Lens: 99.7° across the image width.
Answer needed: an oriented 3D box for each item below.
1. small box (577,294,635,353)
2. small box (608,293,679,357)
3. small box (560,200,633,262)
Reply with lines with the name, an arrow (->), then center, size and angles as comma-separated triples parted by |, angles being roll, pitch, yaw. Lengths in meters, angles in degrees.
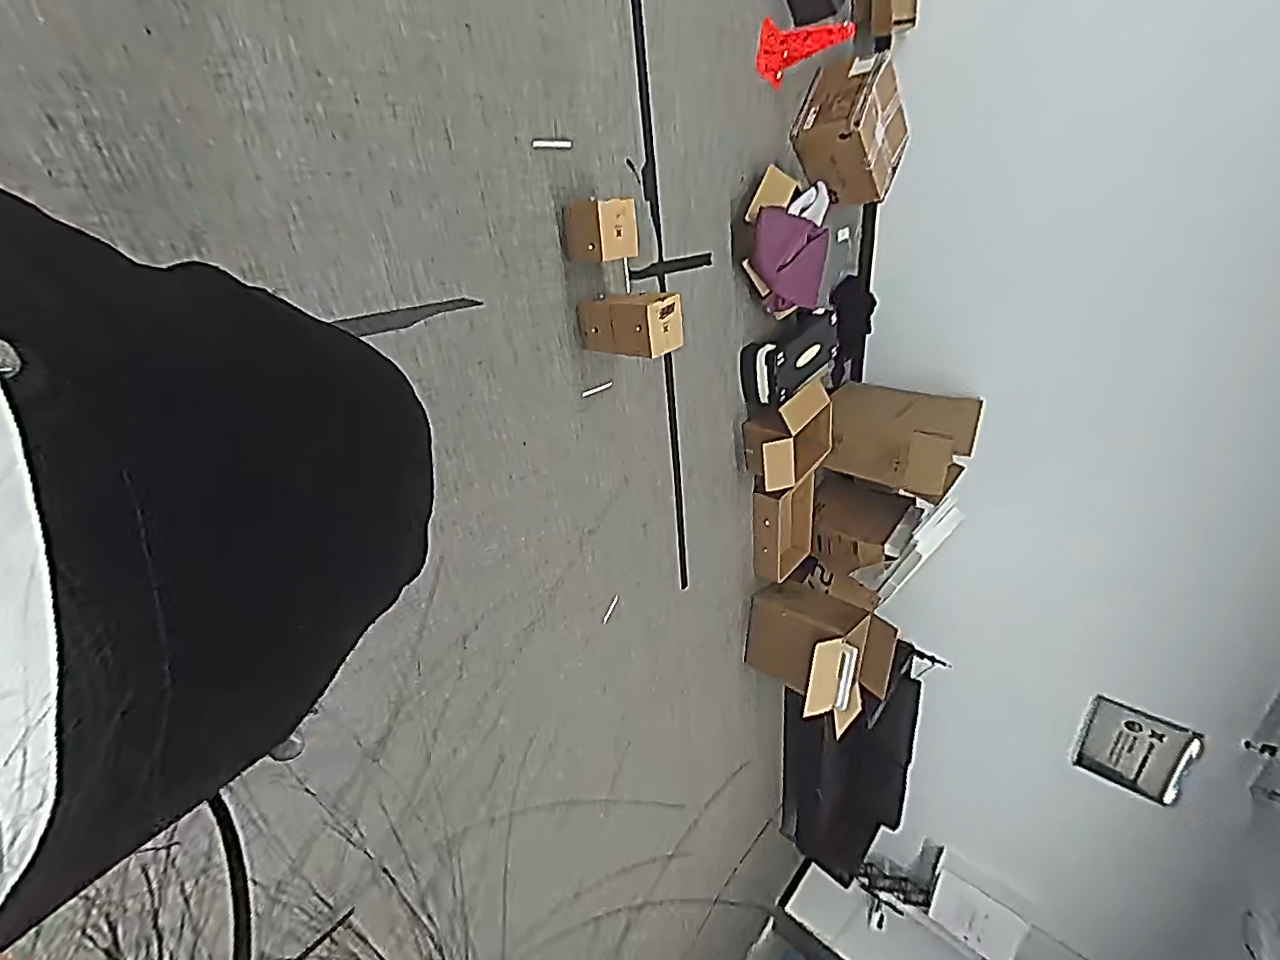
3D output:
small box -> -0.107, -0.561, 1.926 | 0.179, 0.176, 0.168 | -32, 127, -37
small box -> 0.011, -0.525, 1.815 | 0.168, 0.176, 0.179 | -33, 128, -37
small box -> -0.143, -0.820, 1.782 | 0.168, 0.176, 0.179 | -29, 124, -40
